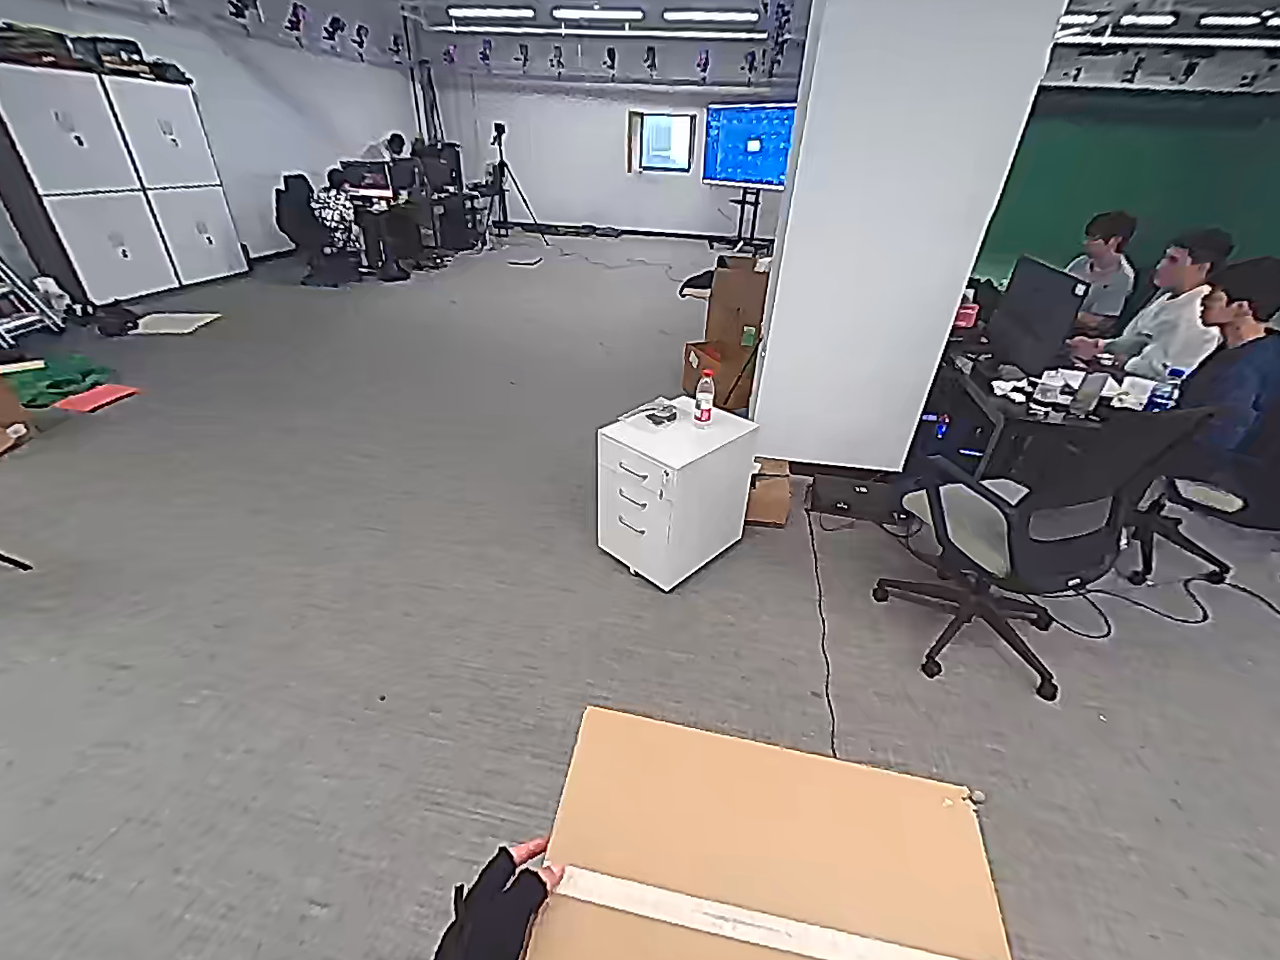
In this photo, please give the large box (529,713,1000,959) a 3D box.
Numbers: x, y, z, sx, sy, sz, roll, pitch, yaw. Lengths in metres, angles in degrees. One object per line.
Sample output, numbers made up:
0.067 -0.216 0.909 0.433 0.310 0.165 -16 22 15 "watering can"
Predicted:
0.102 0.499 0.573 0.408 0.320 0.320 10 43 6 "large box"
